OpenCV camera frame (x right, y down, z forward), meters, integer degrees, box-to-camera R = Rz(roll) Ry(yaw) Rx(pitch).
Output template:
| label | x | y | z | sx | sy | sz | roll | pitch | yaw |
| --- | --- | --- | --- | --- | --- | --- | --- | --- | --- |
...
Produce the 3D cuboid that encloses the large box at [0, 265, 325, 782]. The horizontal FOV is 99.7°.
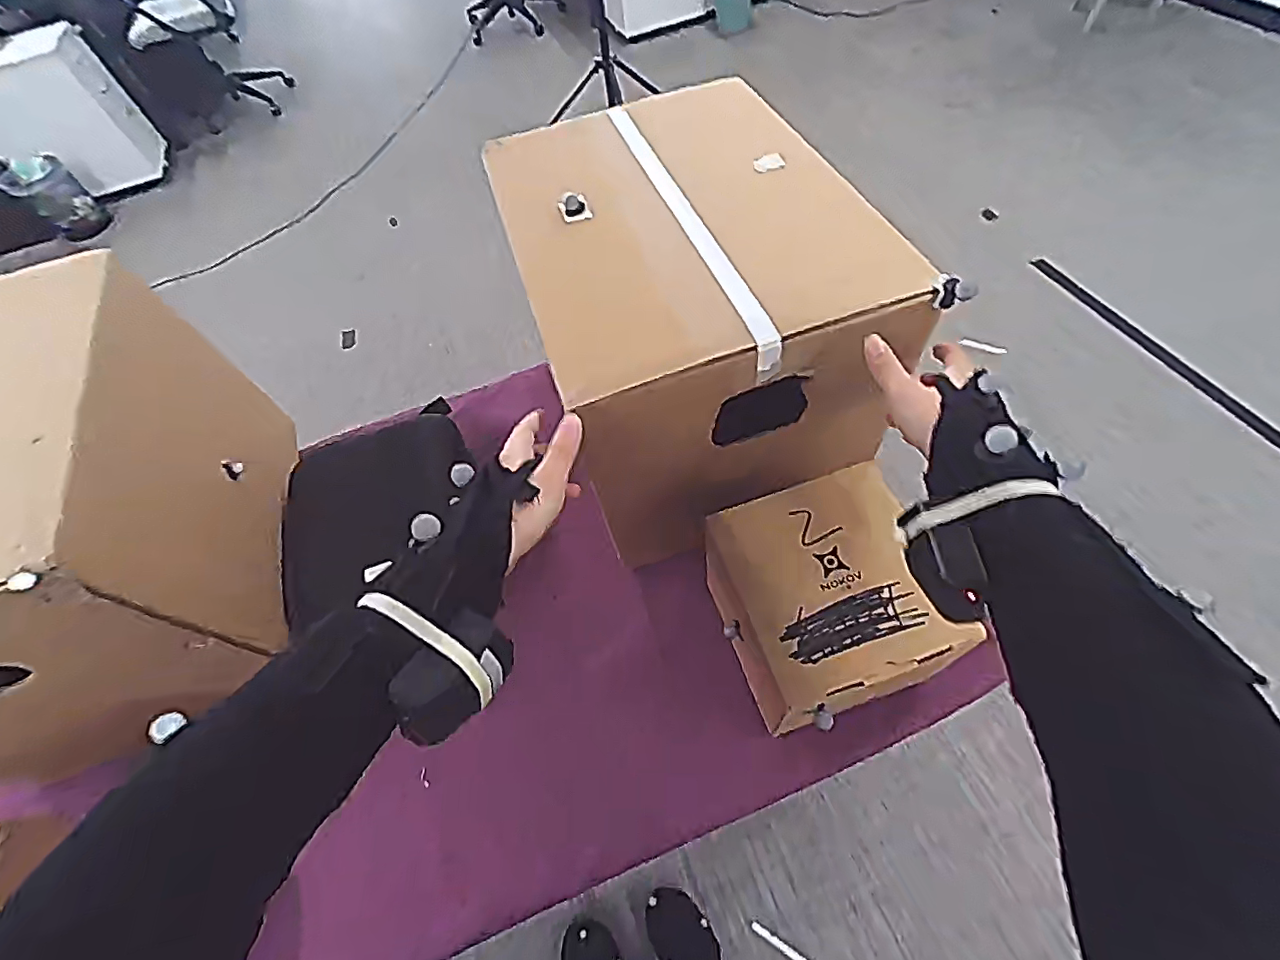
| label | x | y | z | sx | sy | sz | roll | pitch | yaw |
| --- | --- | --- | --- | --- | --- | --- | --- | --- | --- |
| large box | -0.600 | 0.052 | 0.588 | 0.320 | 0.320 | 0.408 | -24 | 60 | -7 |
